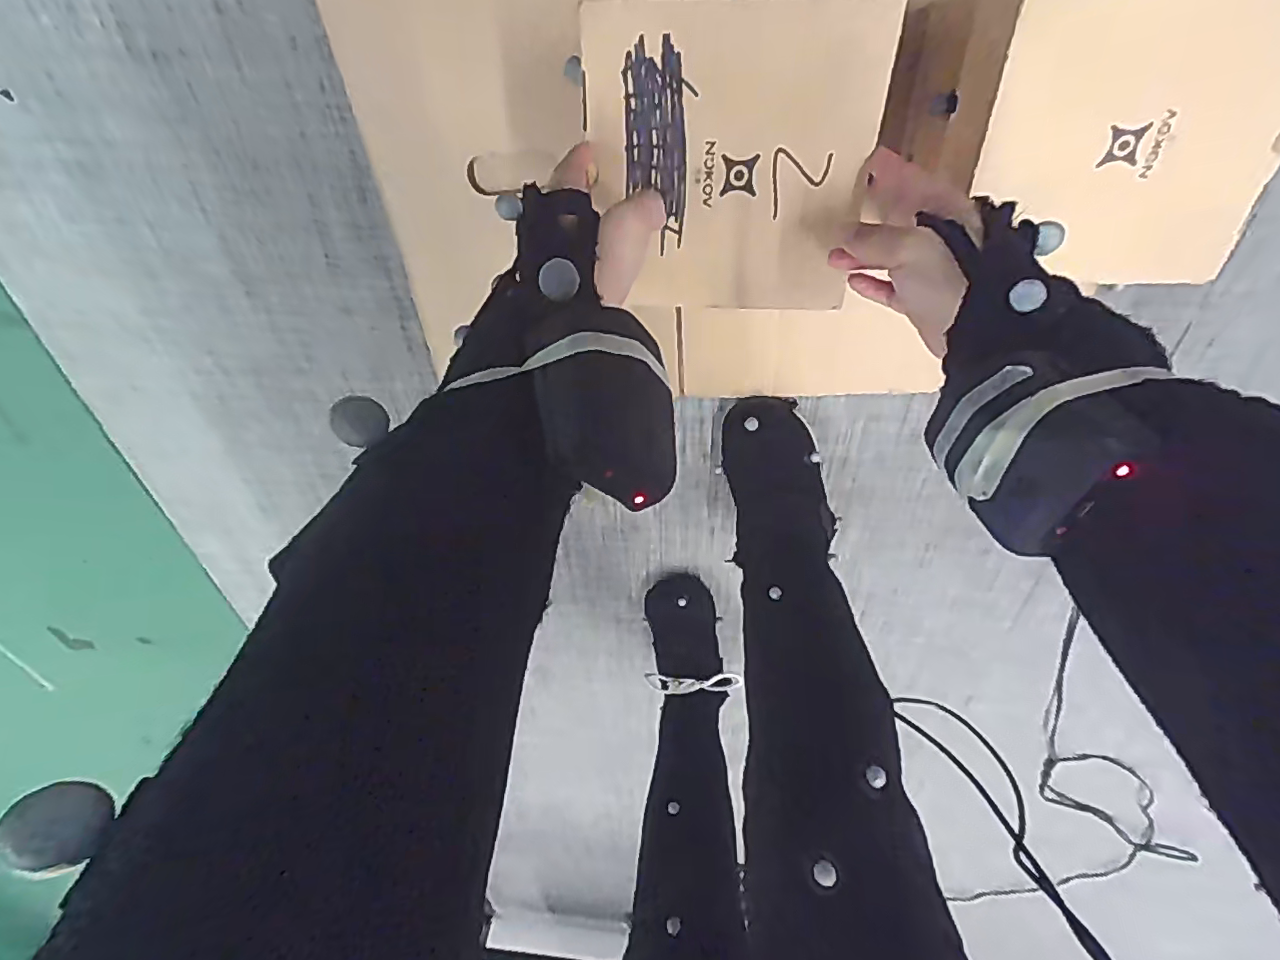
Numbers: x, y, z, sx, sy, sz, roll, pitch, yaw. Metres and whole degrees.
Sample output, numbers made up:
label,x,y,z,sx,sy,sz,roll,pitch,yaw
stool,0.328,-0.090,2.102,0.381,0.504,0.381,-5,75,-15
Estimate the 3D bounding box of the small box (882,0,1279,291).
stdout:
label,x,y,z,sx,sy,sz,roll,pitch,yaw
small box,0.296,-0.244,0.393,0.179,0.176,0.168,1,126,6
